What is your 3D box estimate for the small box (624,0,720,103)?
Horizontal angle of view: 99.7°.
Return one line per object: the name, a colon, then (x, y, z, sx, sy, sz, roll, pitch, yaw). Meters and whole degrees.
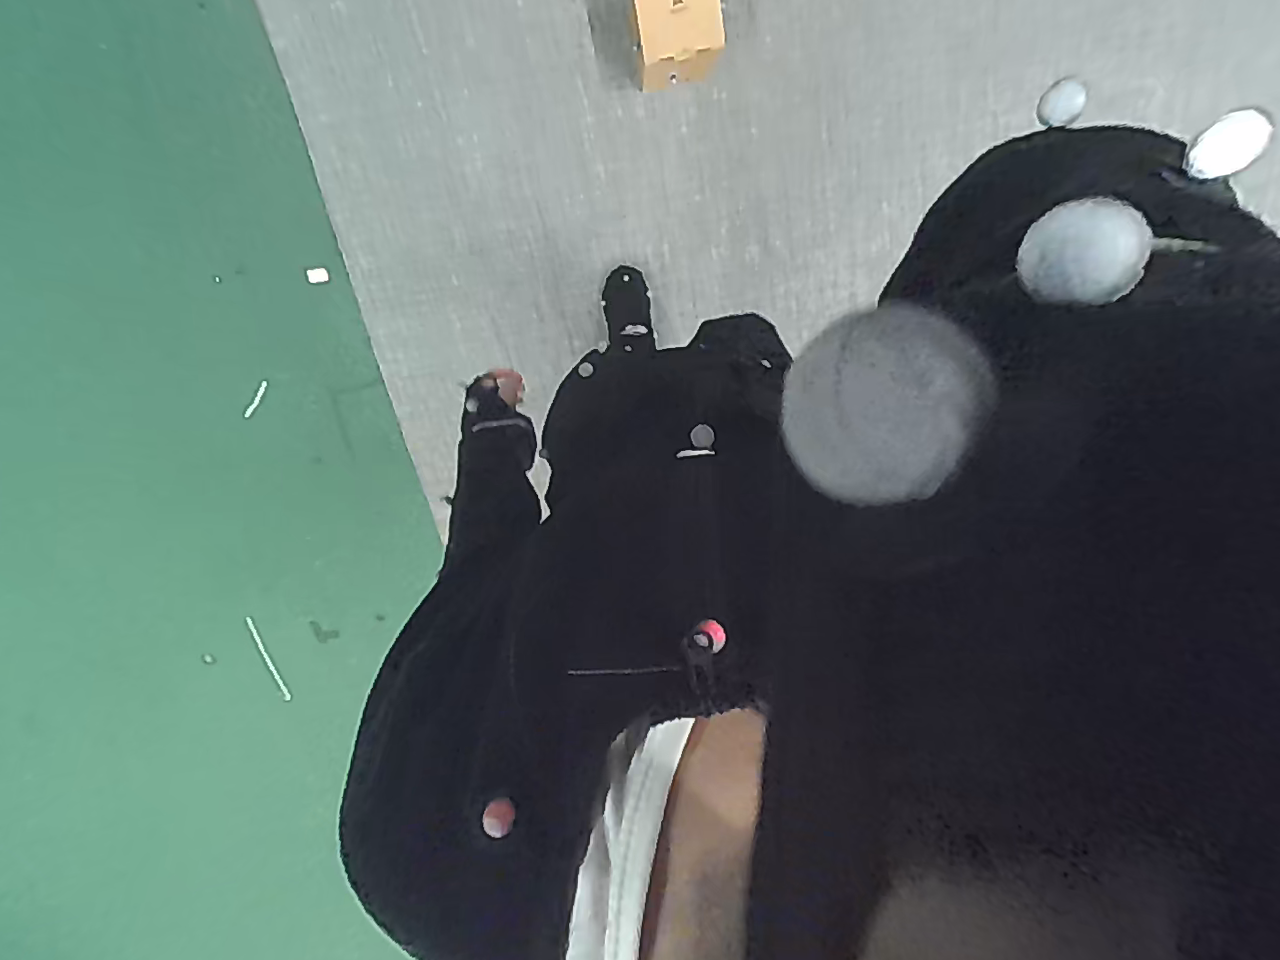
small box: (0.062, -0.931, 1.135, 0.168, 0.176, 0.179, -11, 109, 1)
